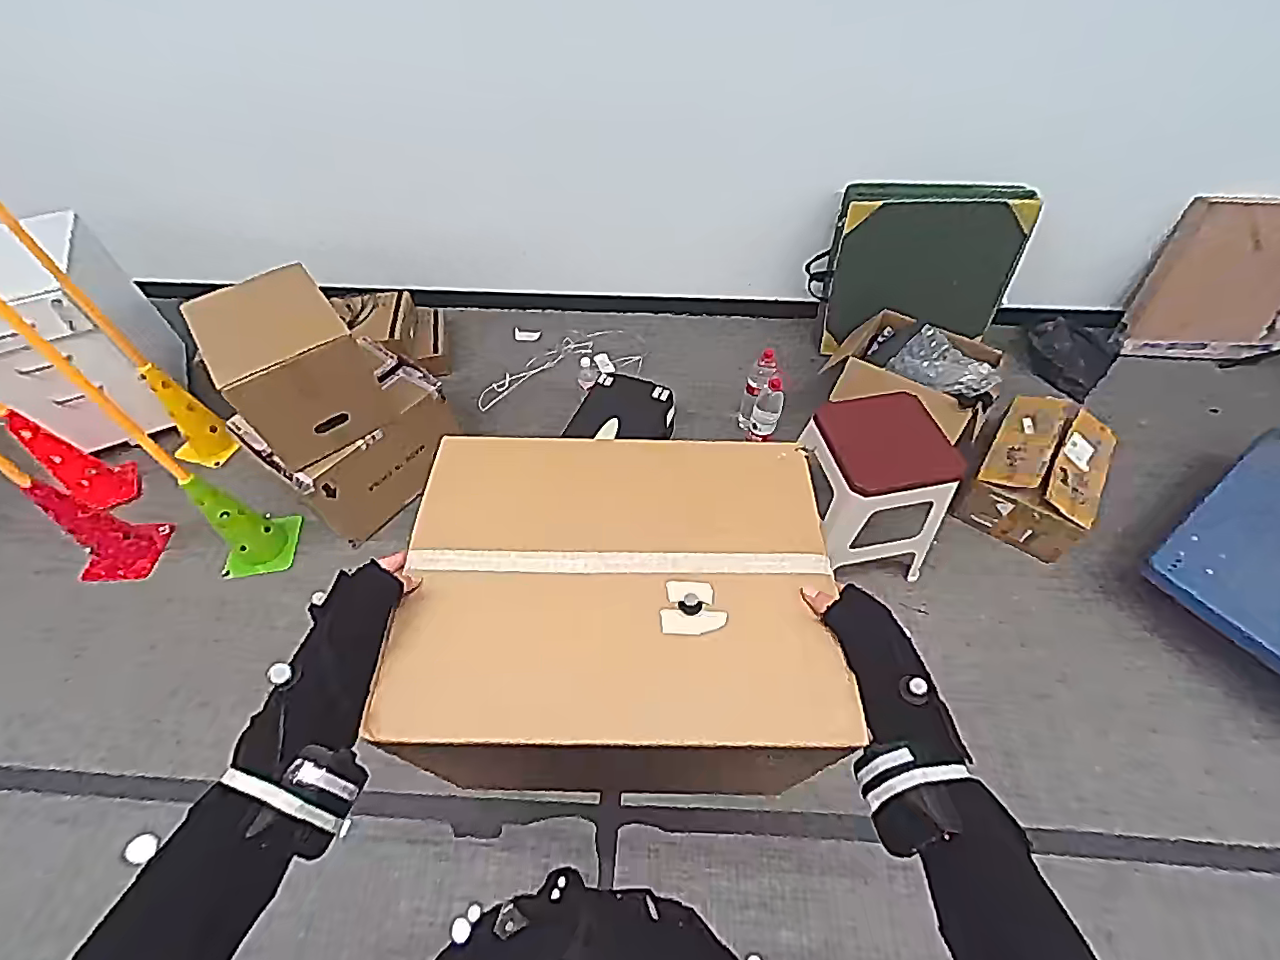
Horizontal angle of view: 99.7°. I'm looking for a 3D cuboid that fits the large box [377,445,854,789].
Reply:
[{"bbox_3d":[-0.023,0.174,0.650,0.408,0.320,0.320,2,54,0],"label":"large box"}]
